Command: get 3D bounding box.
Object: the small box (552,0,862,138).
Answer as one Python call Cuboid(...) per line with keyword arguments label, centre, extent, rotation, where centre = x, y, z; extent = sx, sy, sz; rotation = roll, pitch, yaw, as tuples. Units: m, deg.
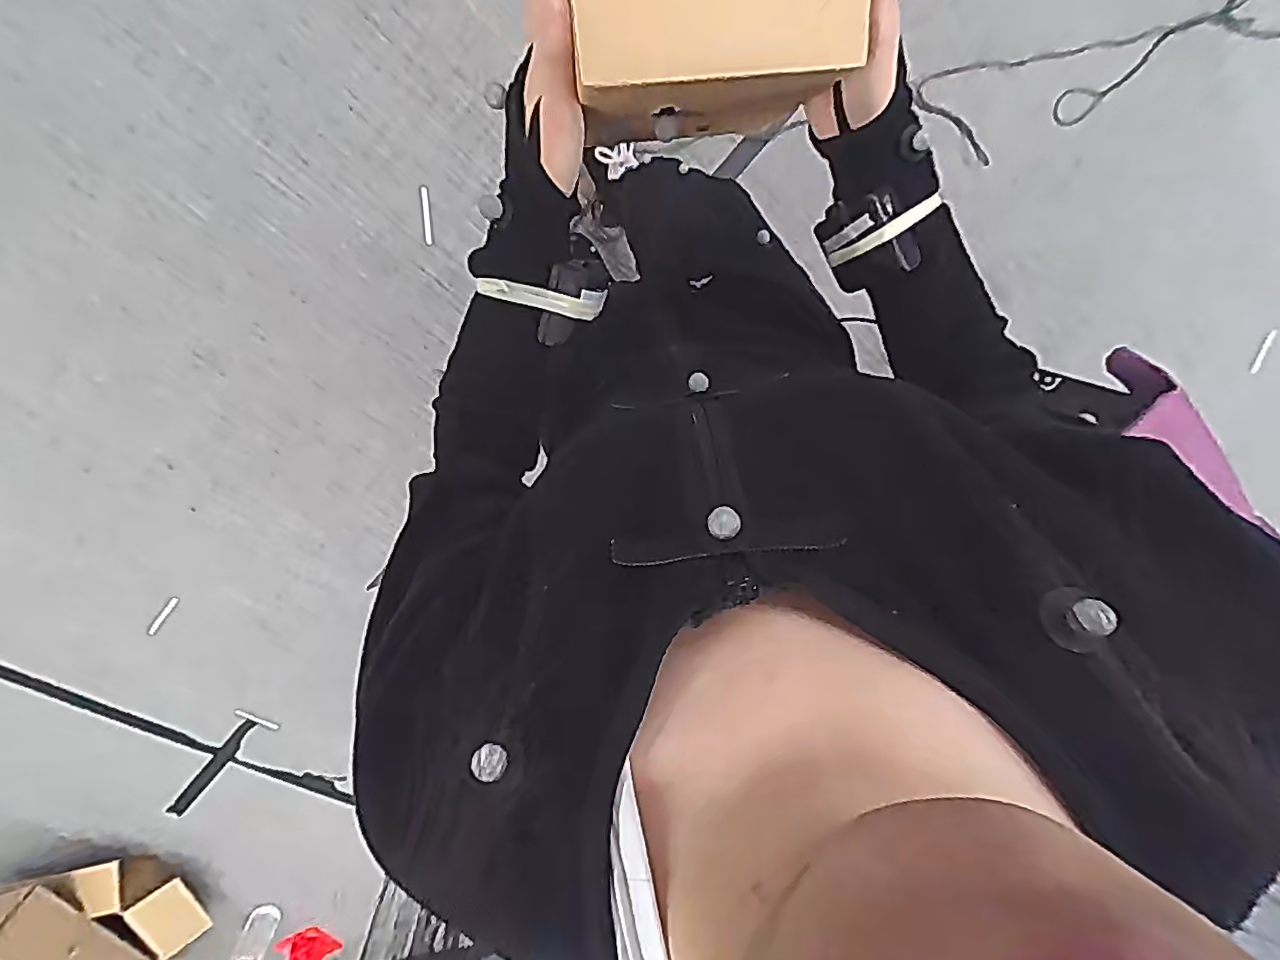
Cuboid(label="small box", centre=(0.027, -0.334, 0.344), extent=(0.168, 0.176, 0.179), rotation=(-8, 112, -5))
